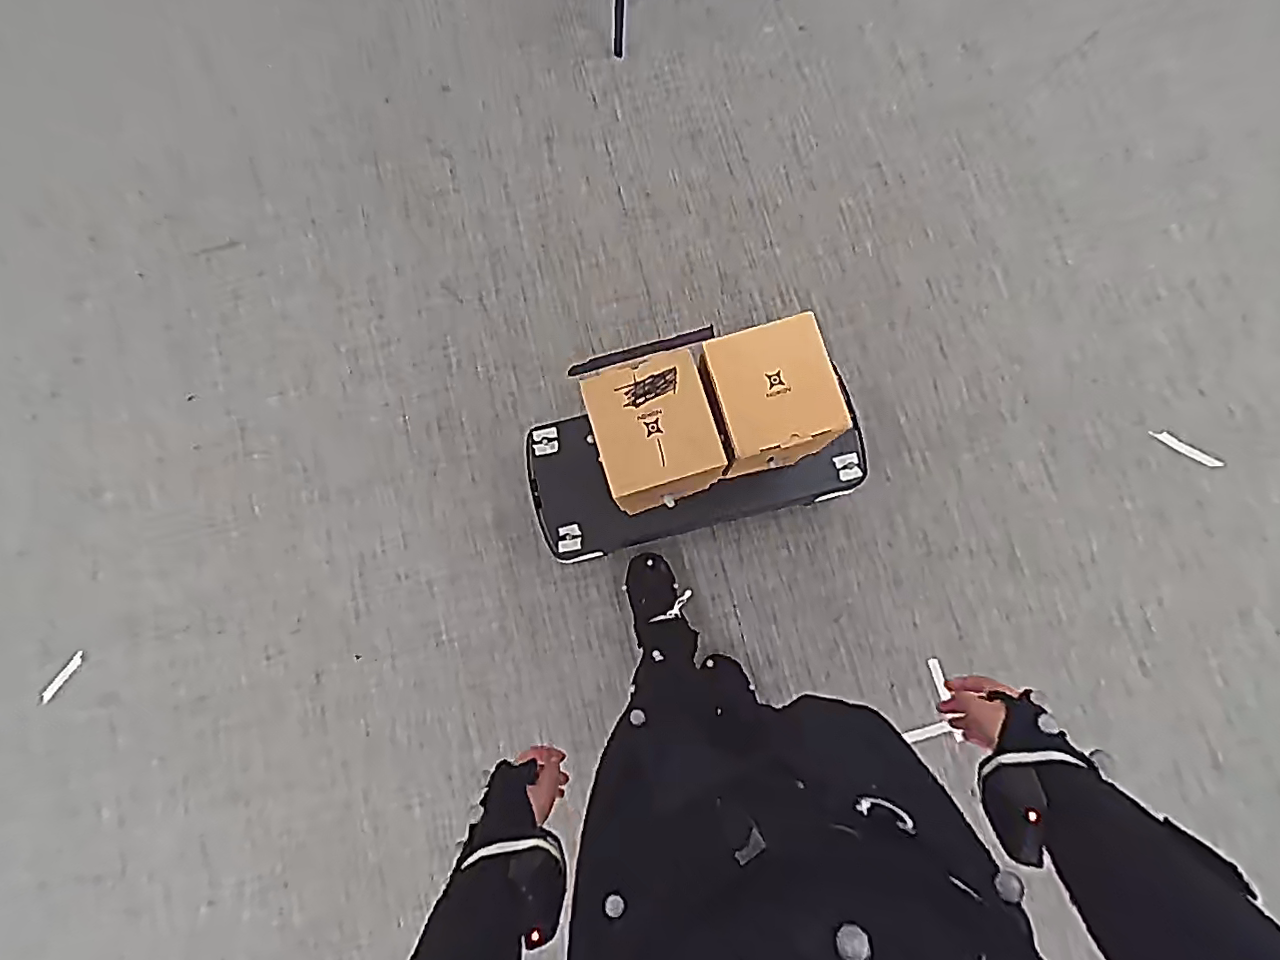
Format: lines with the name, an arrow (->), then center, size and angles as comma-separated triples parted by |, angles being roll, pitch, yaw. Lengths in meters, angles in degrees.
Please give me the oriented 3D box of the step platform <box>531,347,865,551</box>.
step platform -> 0.115, -0.060, 1.166 | 0.684, 0.204, 0.286 | -15, 81, 0
